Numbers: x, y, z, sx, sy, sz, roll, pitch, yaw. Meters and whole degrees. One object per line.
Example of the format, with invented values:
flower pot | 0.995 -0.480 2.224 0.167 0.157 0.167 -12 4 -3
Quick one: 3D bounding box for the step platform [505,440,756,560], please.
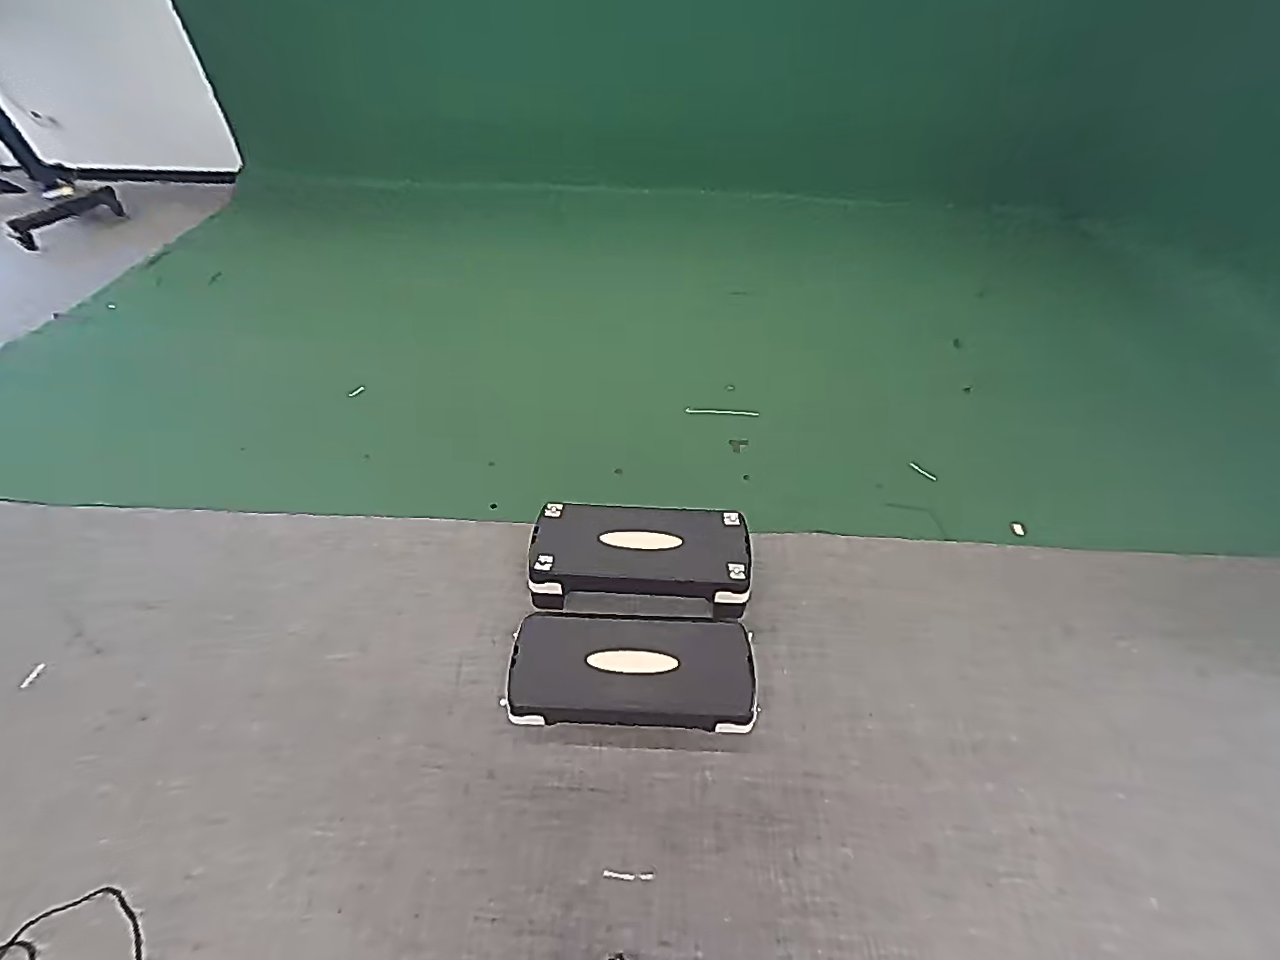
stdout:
step platform | -0.024 0.061 1.561 0.684 0.204 0.286 2 48 1
